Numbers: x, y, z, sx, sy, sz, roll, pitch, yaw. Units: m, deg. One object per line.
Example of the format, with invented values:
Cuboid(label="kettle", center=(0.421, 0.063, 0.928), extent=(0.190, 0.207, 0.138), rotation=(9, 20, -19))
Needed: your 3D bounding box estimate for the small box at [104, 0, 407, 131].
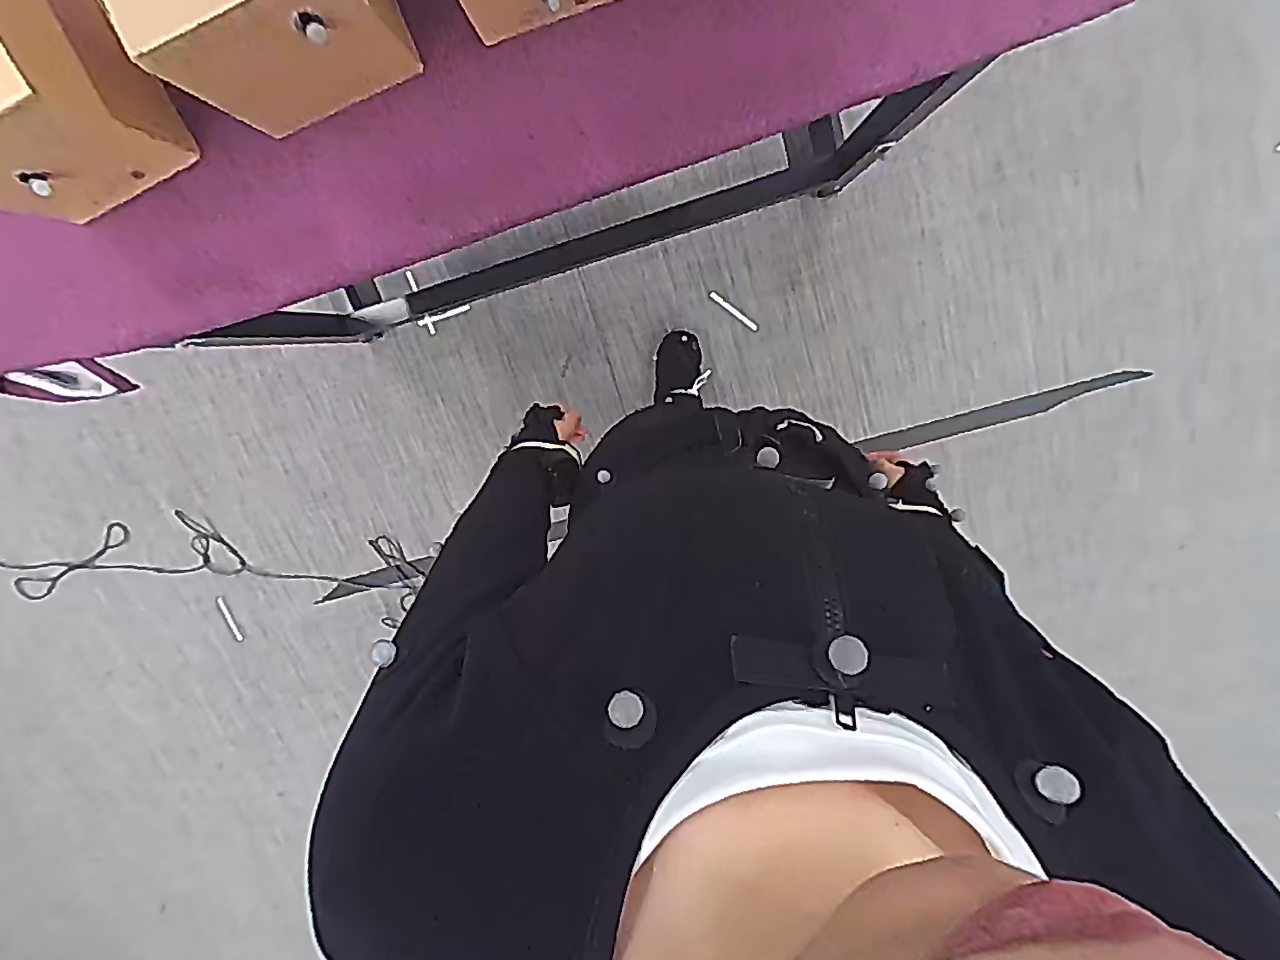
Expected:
Cuboid(label="small box", center=(-0.326, -0.439, 0.457), extent=(0.179, 0.176, 0.168), rotation=(-20, 102, 7))

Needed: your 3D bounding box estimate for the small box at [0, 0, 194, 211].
Cuboid(label="small box", center=(-0.571, -0.367, 0.487), extent=(0.168, 0.176, 0.179), rotation=(-23, 102, 7))
